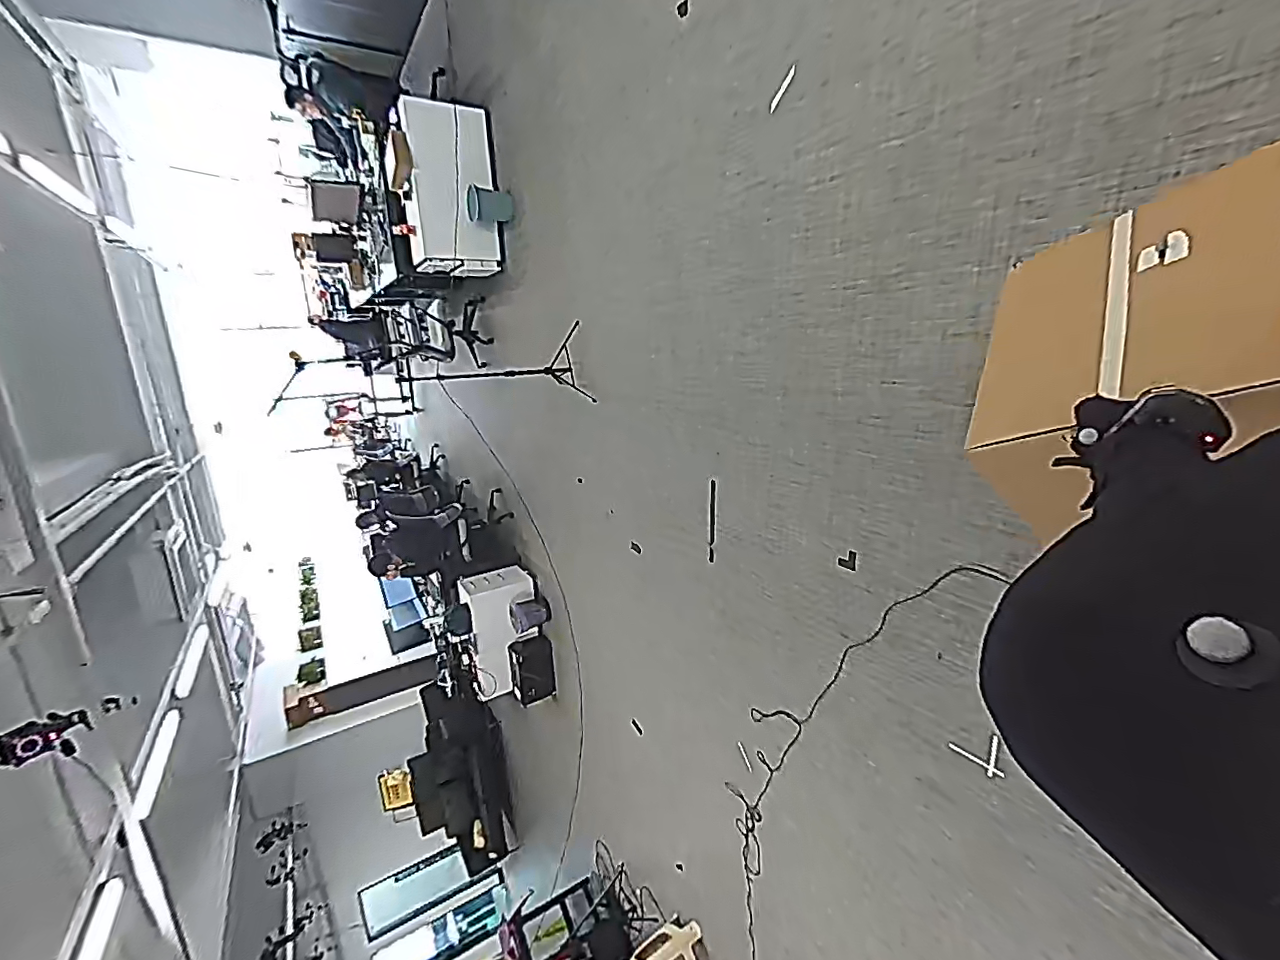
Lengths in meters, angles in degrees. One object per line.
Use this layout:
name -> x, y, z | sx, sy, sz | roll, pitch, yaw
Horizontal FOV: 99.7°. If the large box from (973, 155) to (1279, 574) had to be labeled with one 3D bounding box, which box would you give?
large box -> 0.725, -0.125, 0.736 | 0.320, 0.408, 0.320 | 41, 153, -18
